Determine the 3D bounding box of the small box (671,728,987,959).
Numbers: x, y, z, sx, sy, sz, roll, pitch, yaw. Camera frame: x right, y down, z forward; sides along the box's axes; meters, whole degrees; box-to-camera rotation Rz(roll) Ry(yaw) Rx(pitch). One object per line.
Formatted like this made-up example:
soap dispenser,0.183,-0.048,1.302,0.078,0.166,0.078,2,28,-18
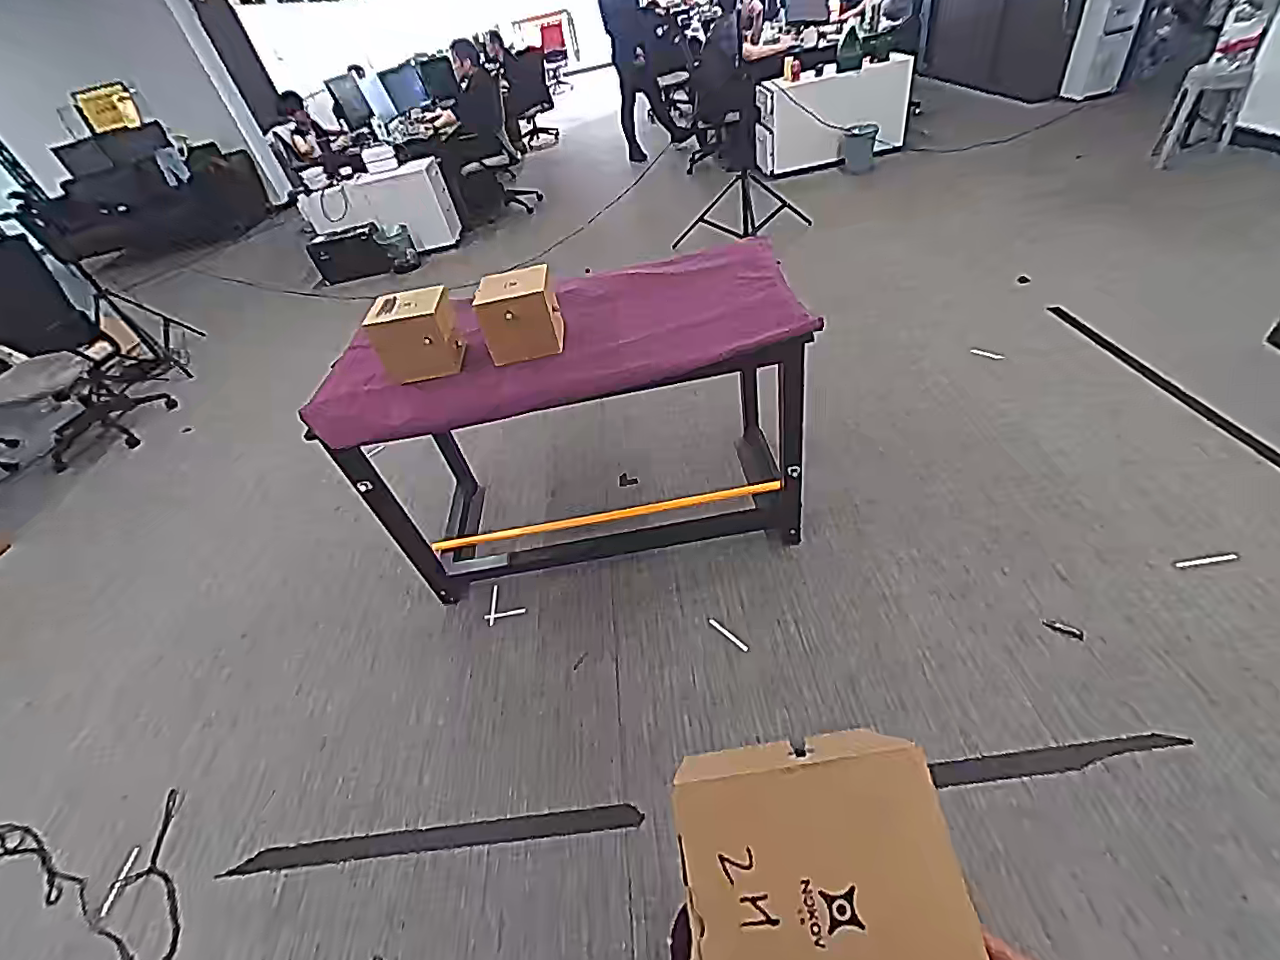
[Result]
small box,0.127,0.296,0.416,0.179,0.176,0.168,-12,67,4

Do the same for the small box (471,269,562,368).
small box,-0.301,-0.404,1.363,0.179,0.176,0.168,-11,41,3
